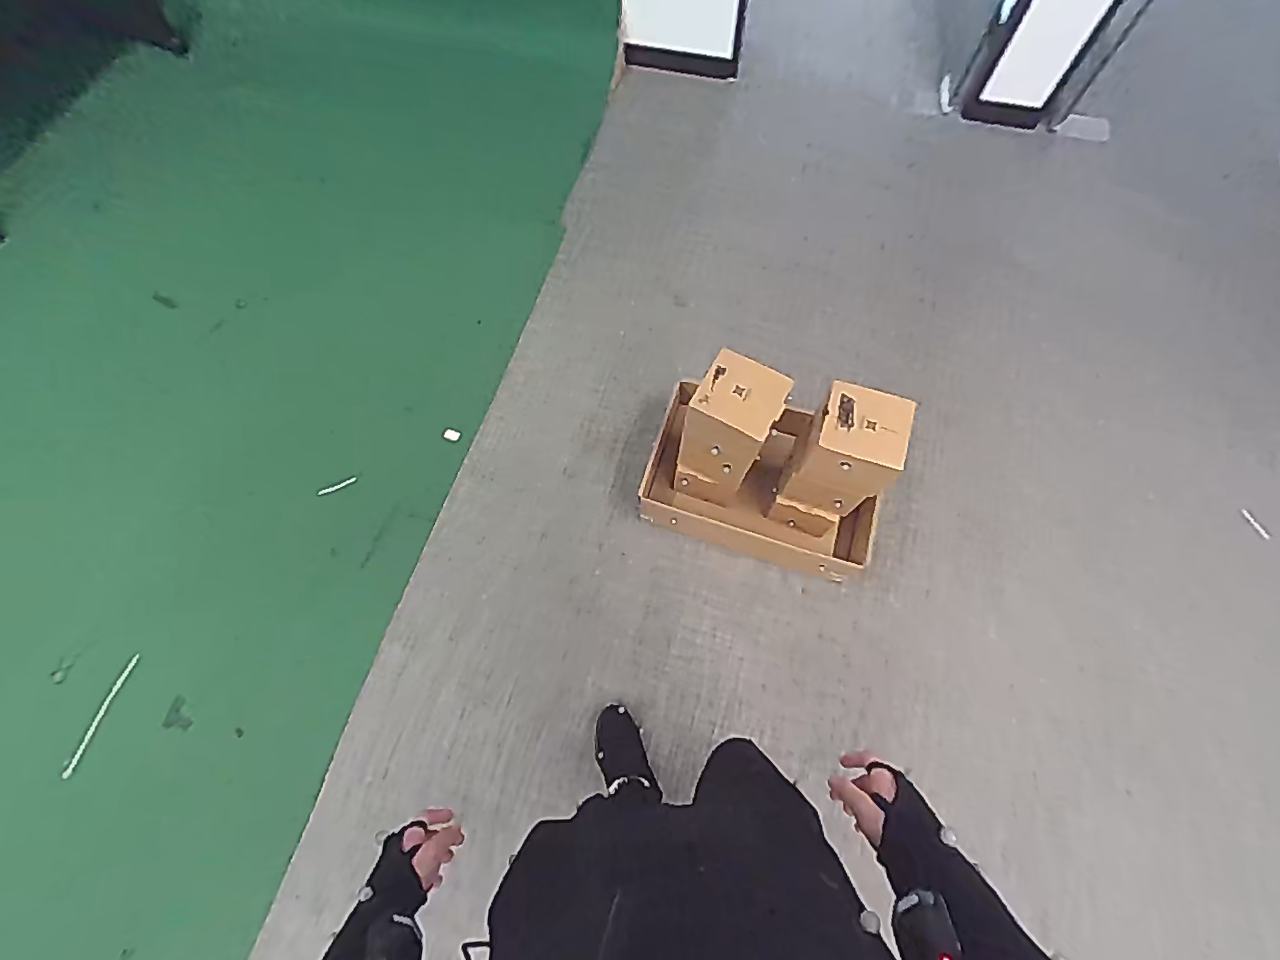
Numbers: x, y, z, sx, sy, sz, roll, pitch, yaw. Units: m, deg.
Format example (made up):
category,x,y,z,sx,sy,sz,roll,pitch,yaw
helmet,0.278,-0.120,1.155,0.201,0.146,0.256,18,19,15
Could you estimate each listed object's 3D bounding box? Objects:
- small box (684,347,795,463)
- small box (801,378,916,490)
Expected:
category,x,y,z,sx,sy,sz,roll,pitch,yaw
small box,0.214,-0.158,1.210,0.179,0.176,0.168,29,72,9
small box,0.468,-0.094,1.183,0.179,0.176,0.168,18,71,8
